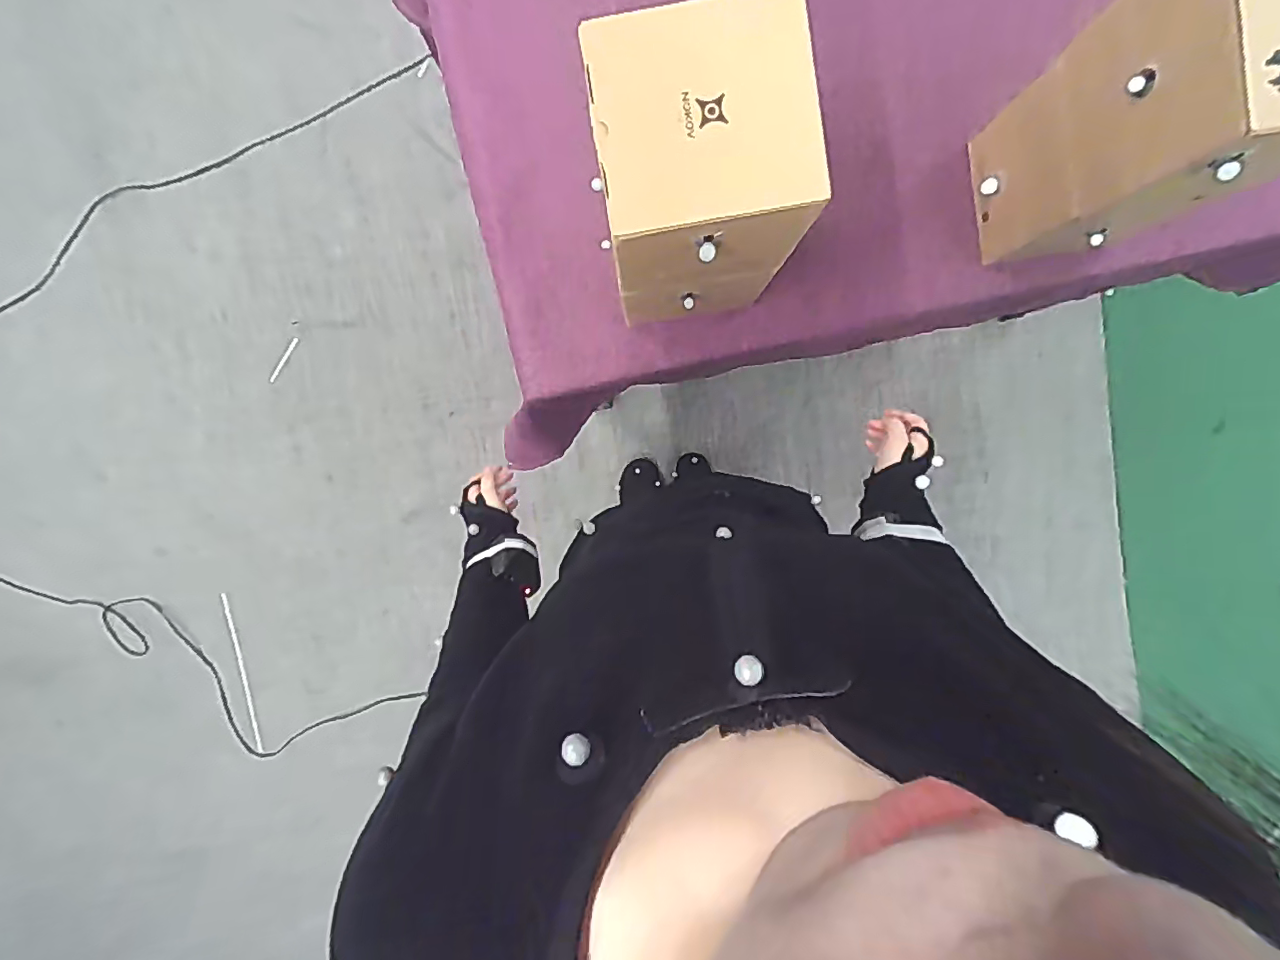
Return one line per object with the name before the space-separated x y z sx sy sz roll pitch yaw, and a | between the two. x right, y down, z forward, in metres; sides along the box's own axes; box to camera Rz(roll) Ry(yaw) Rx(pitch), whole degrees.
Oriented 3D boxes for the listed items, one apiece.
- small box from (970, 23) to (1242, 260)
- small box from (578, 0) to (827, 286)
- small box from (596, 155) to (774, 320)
small box | 0.532 -0.380 0.640 0.179 0.176 0.168 -9 93 3
small box | 0.052 -0.294 0.497 0.179 0.176 0.168 -9 94 4
small box | 0.052 -0.304 0.660 0.179 0.176 0.168 -9 94 2
